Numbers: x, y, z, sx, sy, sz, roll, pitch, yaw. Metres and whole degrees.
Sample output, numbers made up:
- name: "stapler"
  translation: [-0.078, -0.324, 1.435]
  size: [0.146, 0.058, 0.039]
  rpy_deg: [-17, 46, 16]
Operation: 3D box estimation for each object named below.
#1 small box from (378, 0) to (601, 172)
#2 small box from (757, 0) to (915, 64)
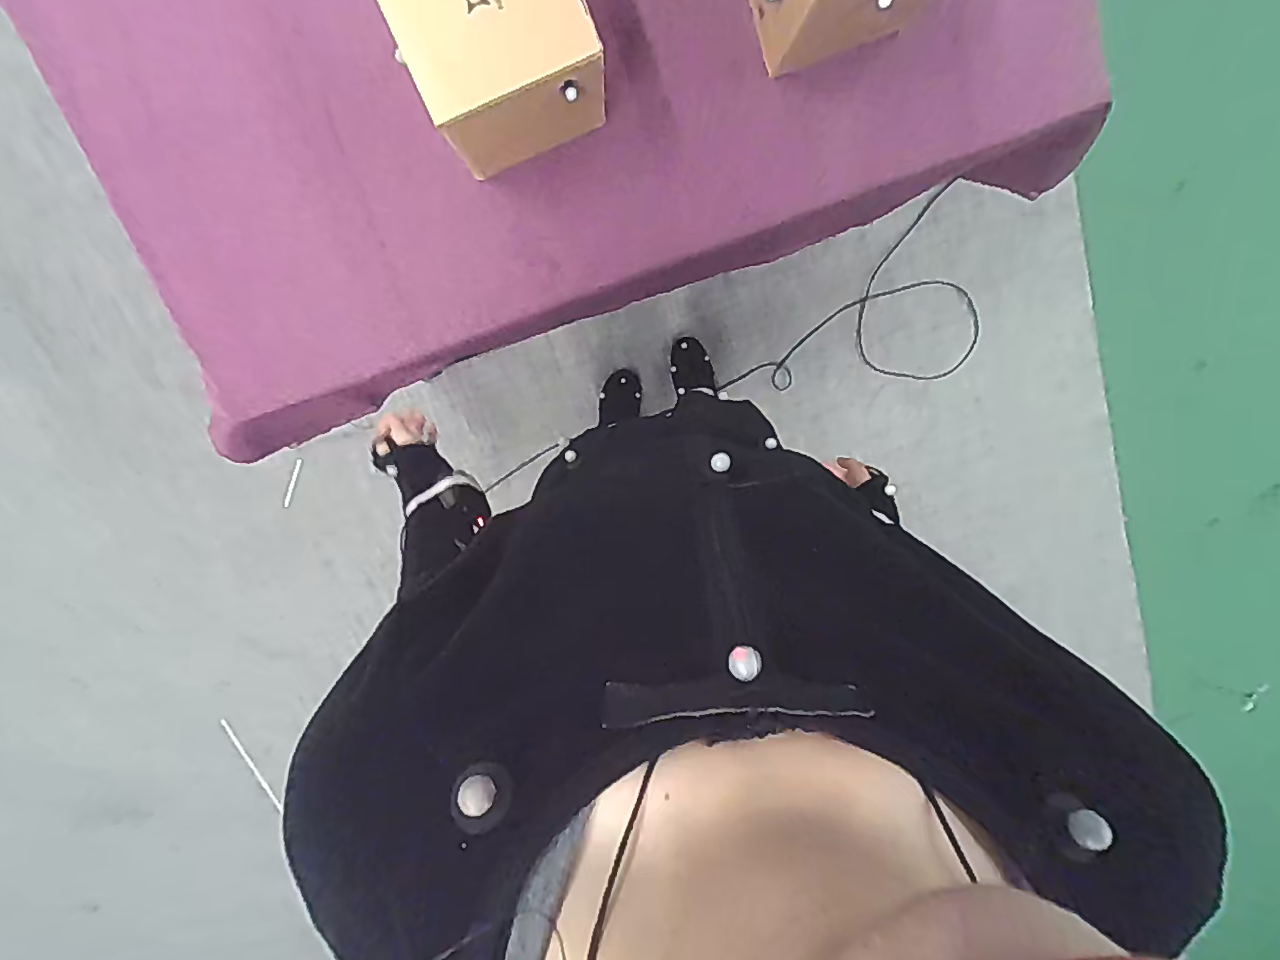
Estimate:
- name: "small box"
  translation: [-0.149, -0.460, 0.569]
  size: [0.179, 0.176, 0.168]
  rpy_deg: [-24, 103, 2]
- name: "small box"
  translation: [0.216, -0.579, 0.558]
  size: [0.179, 0.176, 0.168]
  rpy_deg: [-19, 104, 1]
